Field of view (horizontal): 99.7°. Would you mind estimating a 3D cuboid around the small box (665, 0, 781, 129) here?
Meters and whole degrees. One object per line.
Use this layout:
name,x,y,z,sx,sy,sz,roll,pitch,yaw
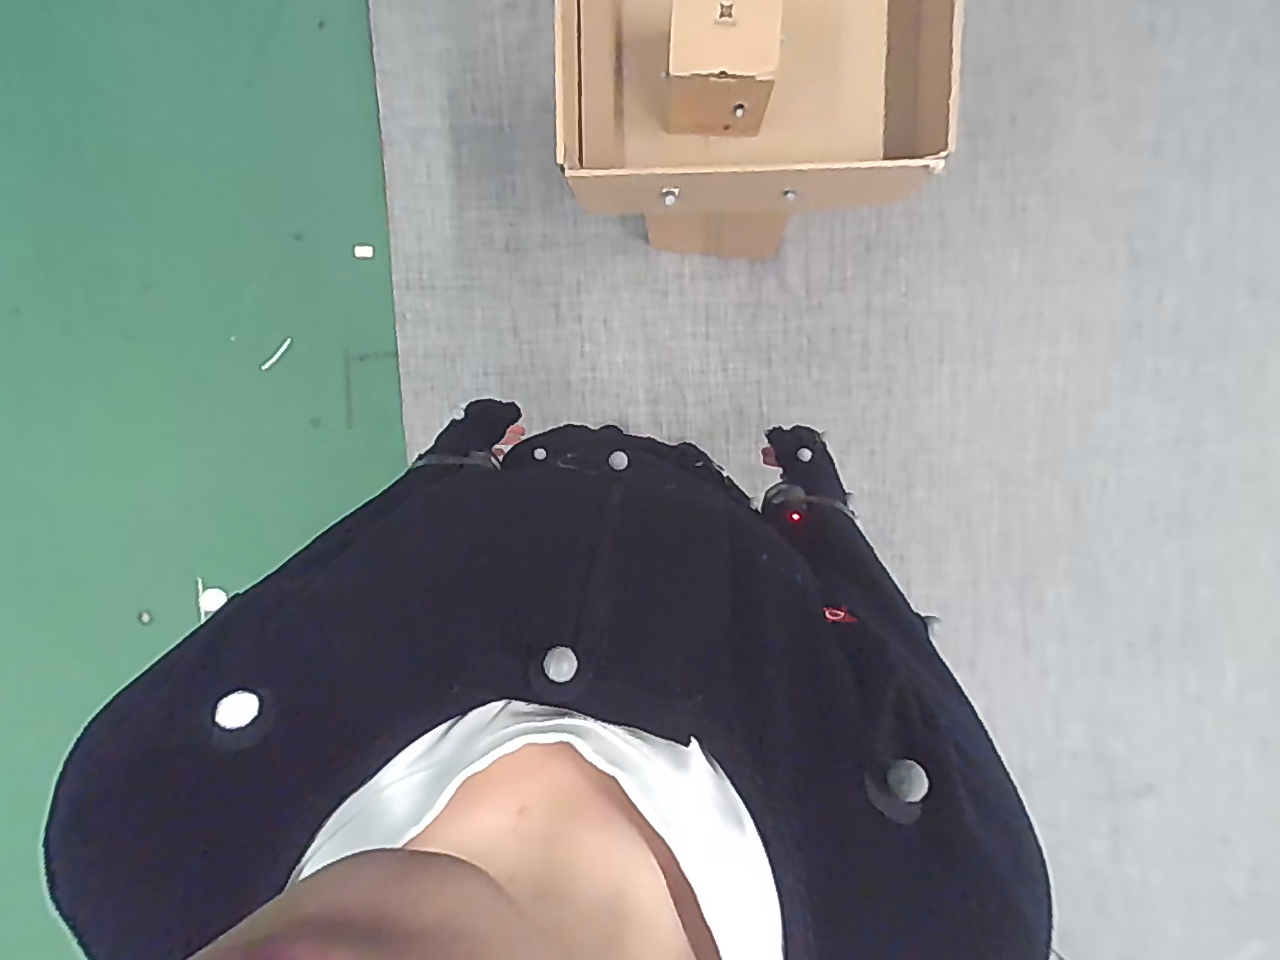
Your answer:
small box,0.128,-0.704,0.879,0.168,0.176,0.179,2,94,0
